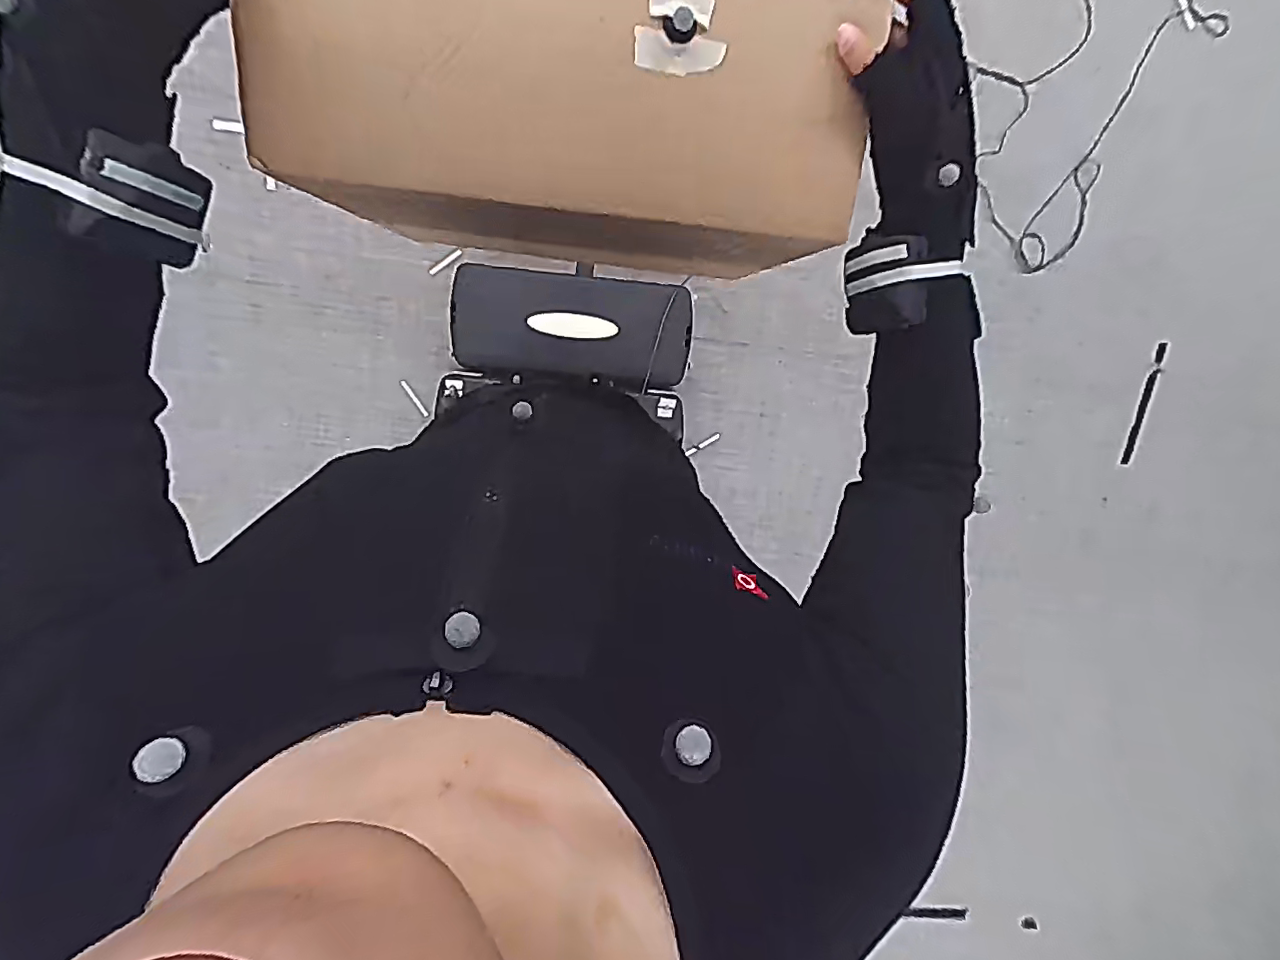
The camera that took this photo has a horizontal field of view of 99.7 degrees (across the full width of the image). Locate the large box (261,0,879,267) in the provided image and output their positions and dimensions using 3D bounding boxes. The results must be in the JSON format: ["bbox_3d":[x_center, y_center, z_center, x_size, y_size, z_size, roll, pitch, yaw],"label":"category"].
[{"bbox_3d":[-0.047,-0.386,0.483,0.408,0.320,0.320,4,106,-6],"label":"large box"}]

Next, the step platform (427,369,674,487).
[{"bbox_3d":[-0.244,-0.147,1.546,0.684,0.204,0.286,4,101,-4],"label":"step platform"}]
